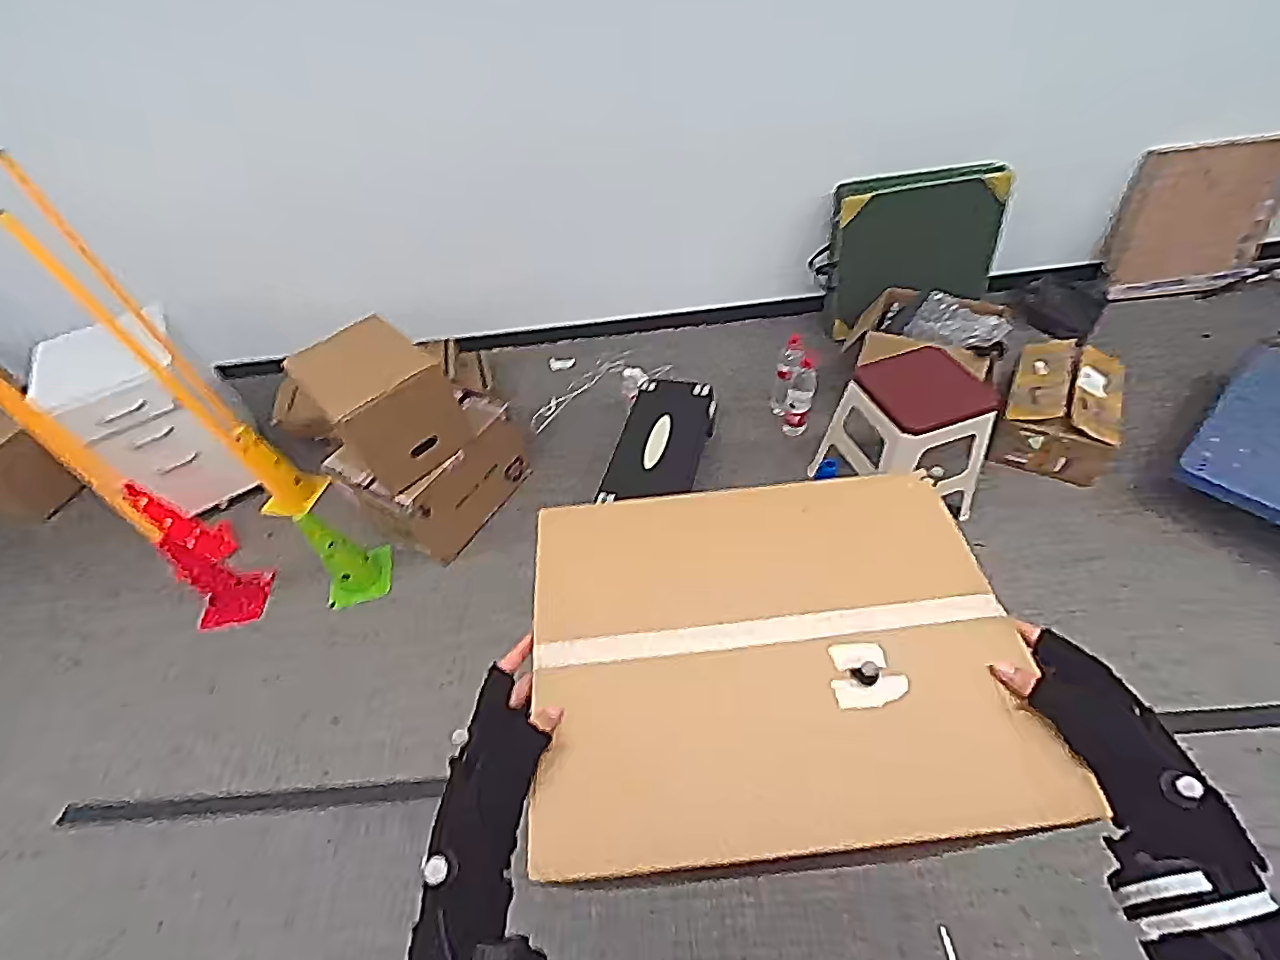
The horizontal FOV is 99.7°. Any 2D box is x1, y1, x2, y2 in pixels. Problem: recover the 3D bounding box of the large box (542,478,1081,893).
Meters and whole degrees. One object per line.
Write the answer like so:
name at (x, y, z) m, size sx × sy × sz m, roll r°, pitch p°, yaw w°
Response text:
large box at (0.117, 0.231, 0.594) m, size 0.408 × 0.320 × 0.320 m, roll -6°, pitch 52°, yaw -1°
